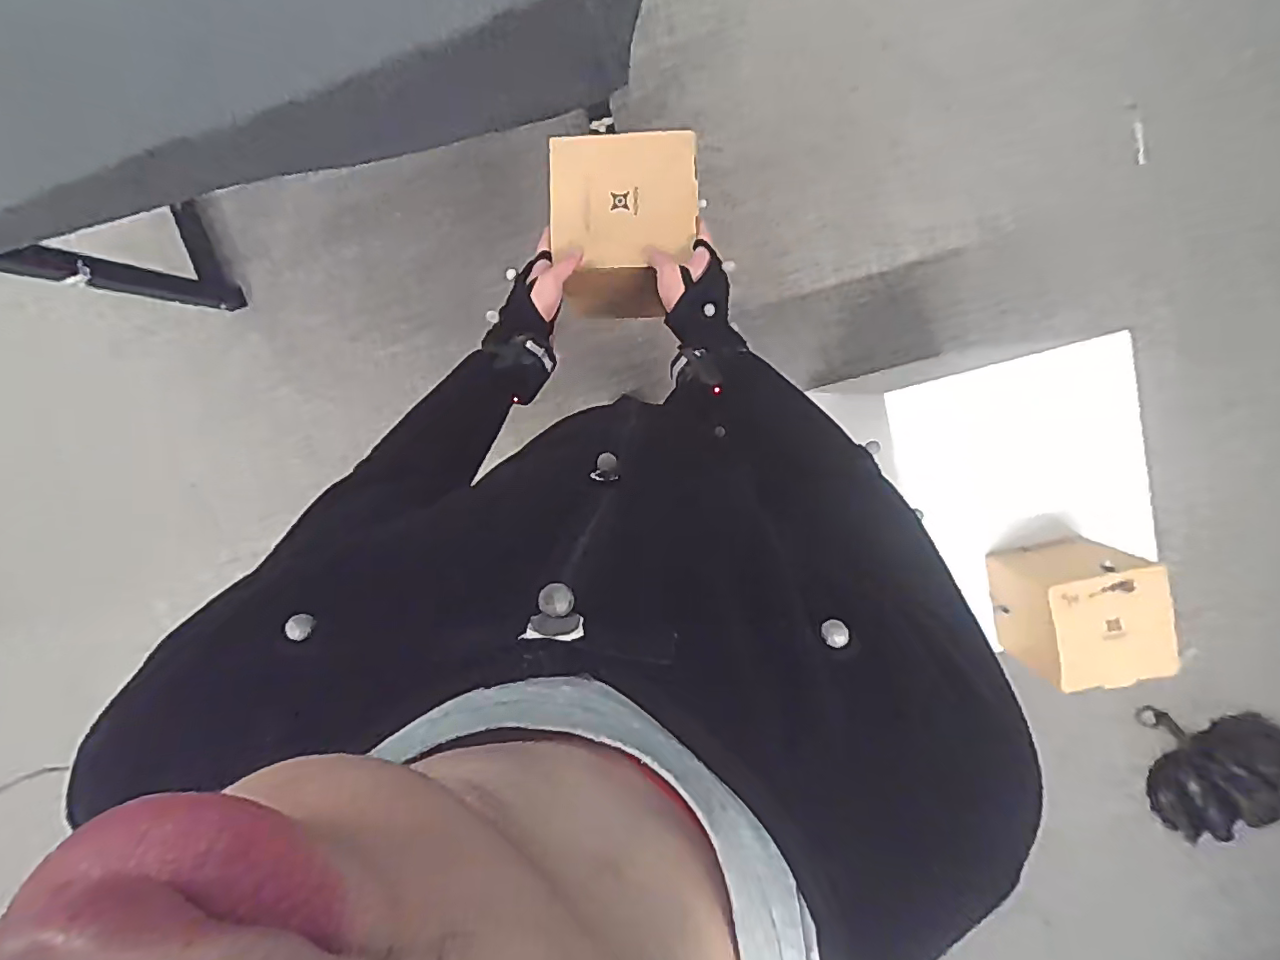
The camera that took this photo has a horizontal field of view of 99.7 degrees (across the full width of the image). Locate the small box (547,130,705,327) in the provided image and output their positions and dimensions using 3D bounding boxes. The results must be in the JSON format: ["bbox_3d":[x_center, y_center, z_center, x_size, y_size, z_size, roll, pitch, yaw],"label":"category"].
[{"bbox_3d":[-0.014,-0.308,0.694,0.179,0.176,0.168,-4,85,3],"label":"small box"}]

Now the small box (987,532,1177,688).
[{"bbox_3d":[0.703,0.201,0.877,0.168,0.176,0.179,-14,98,2],"label":"small box"}]
